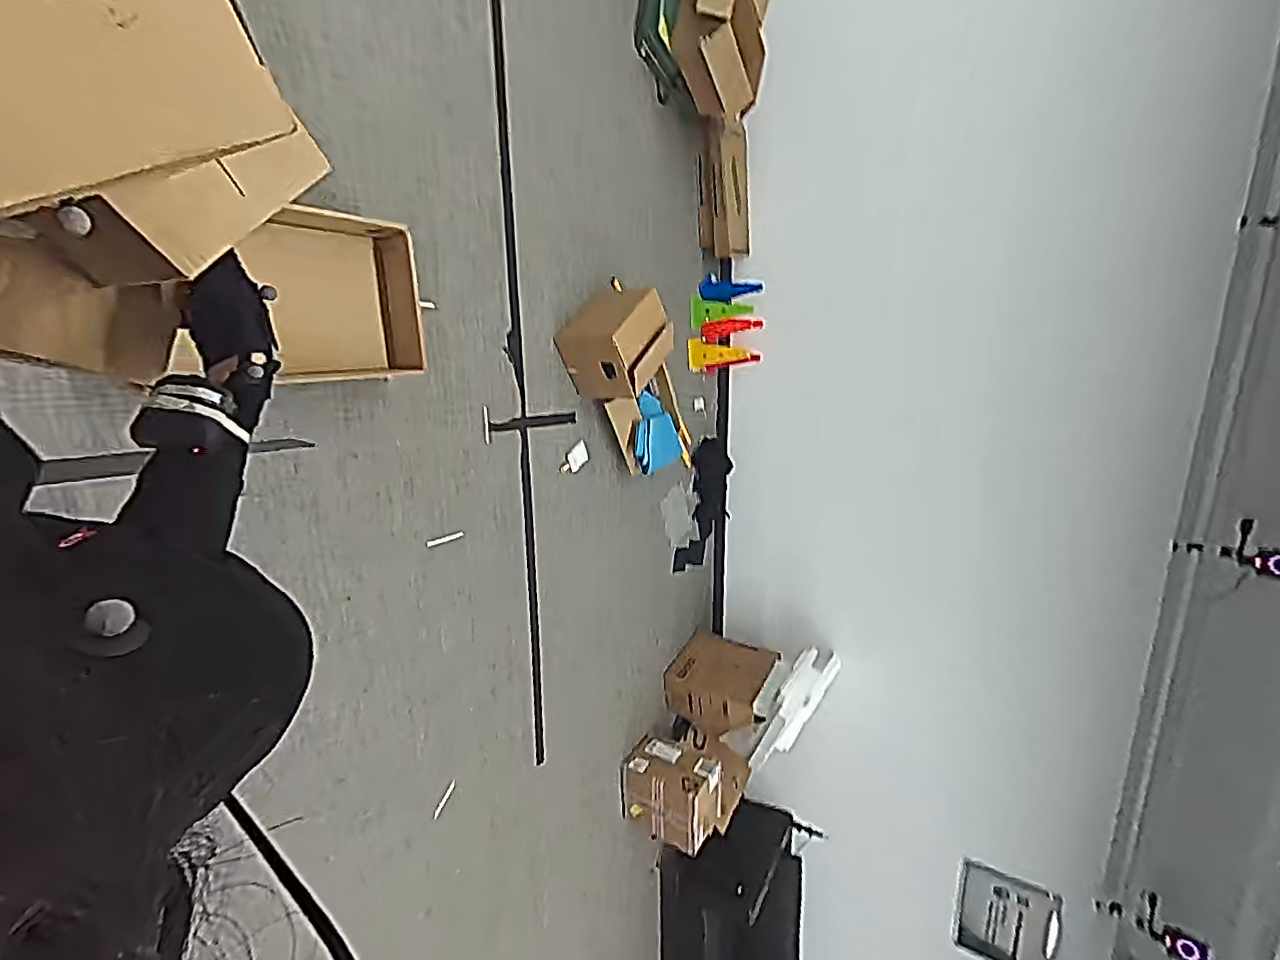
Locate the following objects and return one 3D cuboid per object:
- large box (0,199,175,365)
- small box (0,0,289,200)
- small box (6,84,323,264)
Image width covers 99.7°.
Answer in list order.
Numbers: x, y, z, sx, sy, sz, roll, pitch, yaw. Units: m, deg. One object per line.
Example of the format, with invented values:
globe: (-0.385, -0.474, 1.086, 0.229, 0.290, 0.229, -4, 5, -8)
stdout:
large box: (-0.669, -0.304, 0.423, 0.408, 0.320, 0.320, 15, 87, -63)
small box: (-0.317, -0.222, 0.234, 0.179, 0.176, 0.168, -55, 142, -40)
small box: (-0.401, -0.283, 0.406, 0.168, 0.176, 0.179, -63, 148, -28)
